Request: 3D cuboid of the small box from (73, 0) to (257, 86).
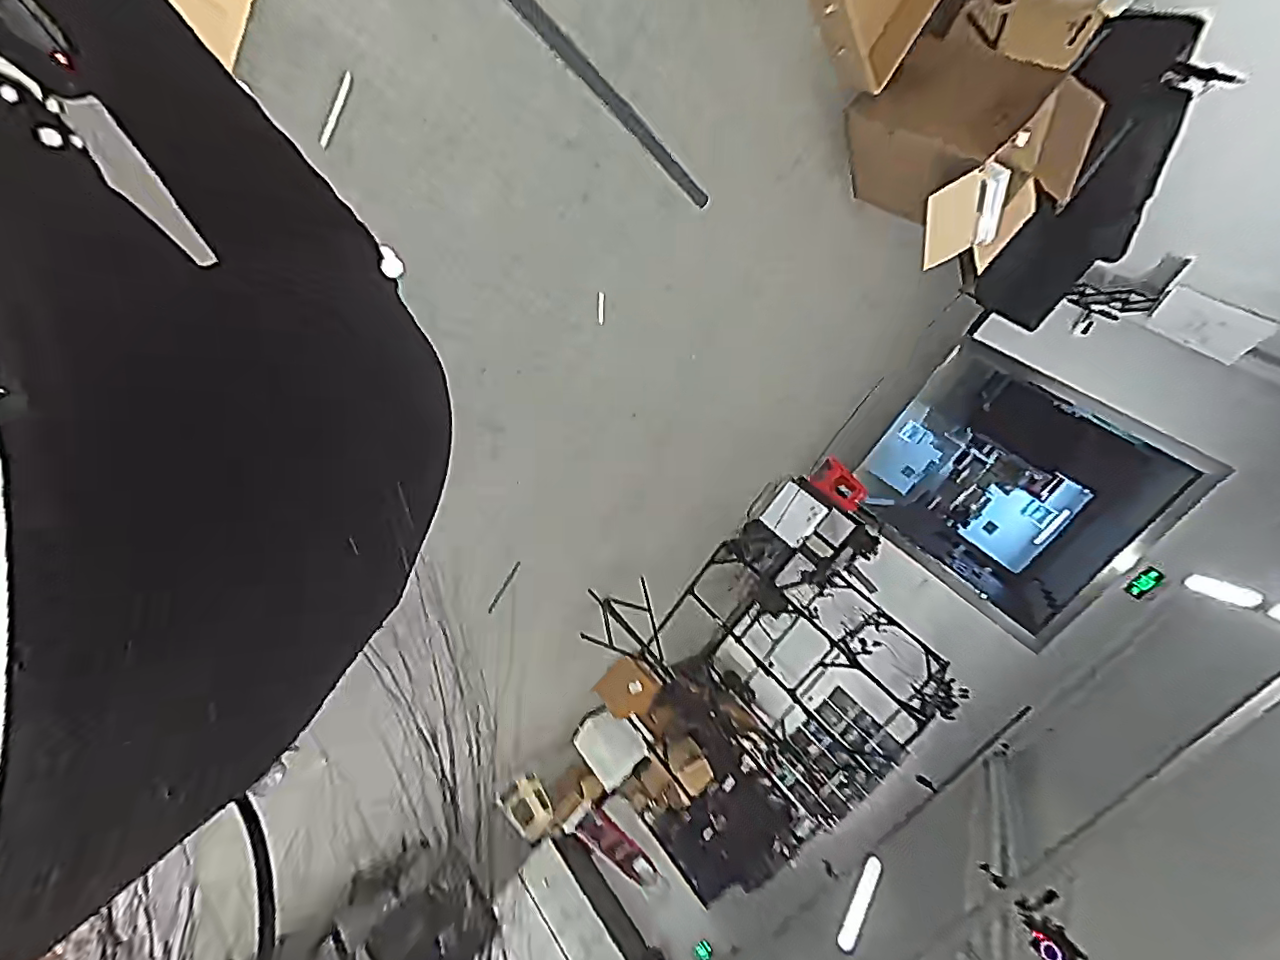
[{"bbox_3d":[-0.650,-0.682,0.724,0.179,0.176,0.168,4,124,-57],"label":"small box"}]
